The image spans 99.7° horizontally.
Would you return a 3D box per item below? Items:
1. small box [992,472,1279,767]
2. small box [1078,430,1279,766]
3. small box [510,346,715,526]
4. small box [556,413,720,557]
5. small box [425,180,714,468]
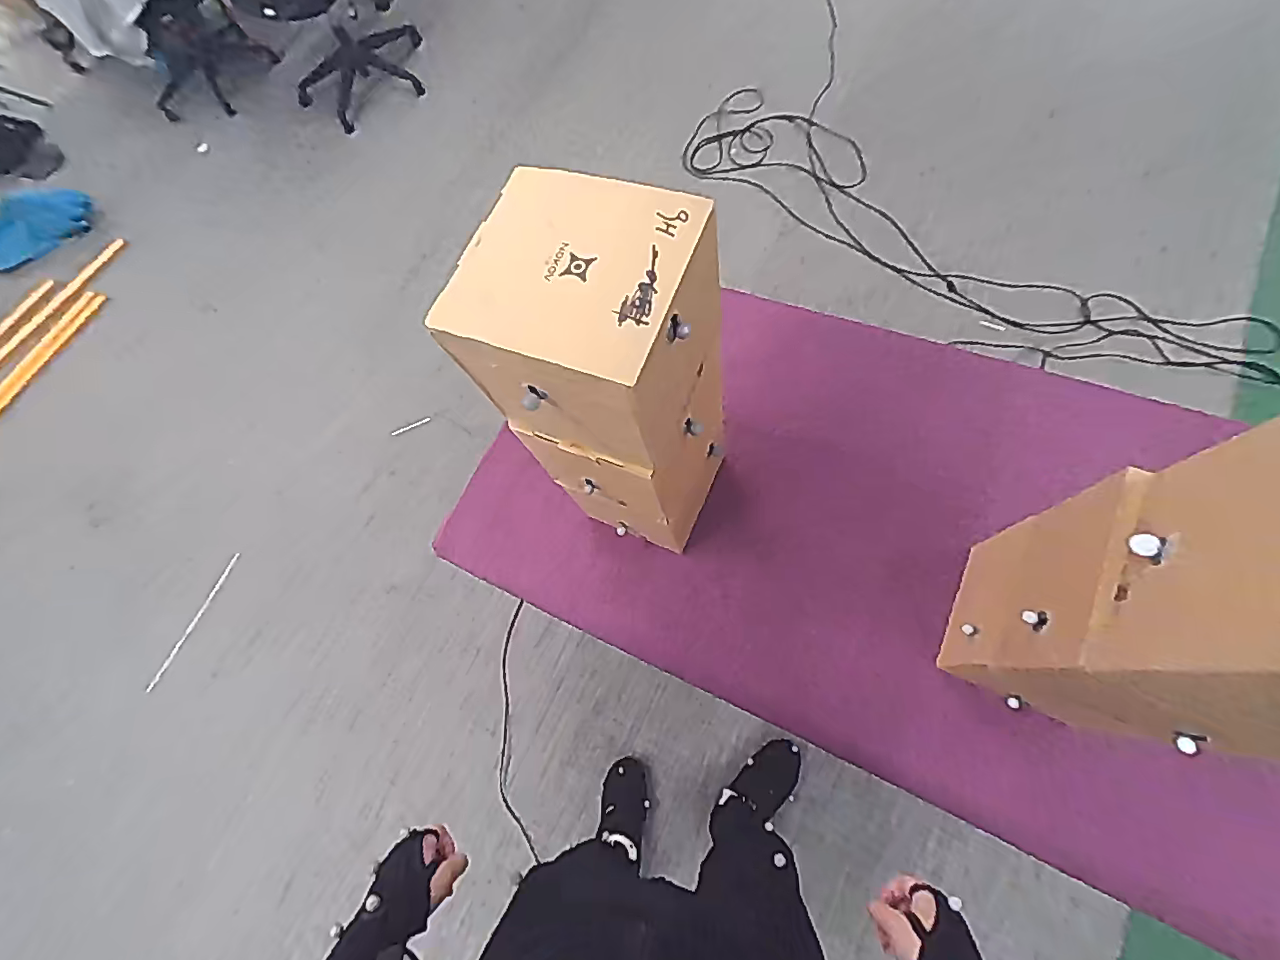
[{"bbox_3d":[0.442,0.124,0.472,0.168,0.176,0.179,21,75,17],"label":"small box"},{"bbox_3d":[0.417,0.079,0.316,0.179,0.176,0.168,24,75,19],"label":"small box"},{"bbox_3d":[-0.018,-0.069,0.634,0.168,0.176,0.179,20,75,16],"label":"small box"},{"bbox_3d":[0.008,-0.011,0.783,0.168,0.176,0.179,21,74,18],"label":"small box"},{"bbox_3d":[-0.044,-0.128,0.483,0.179,0.176,0.168,18,74,17],"label":"small box"}]
